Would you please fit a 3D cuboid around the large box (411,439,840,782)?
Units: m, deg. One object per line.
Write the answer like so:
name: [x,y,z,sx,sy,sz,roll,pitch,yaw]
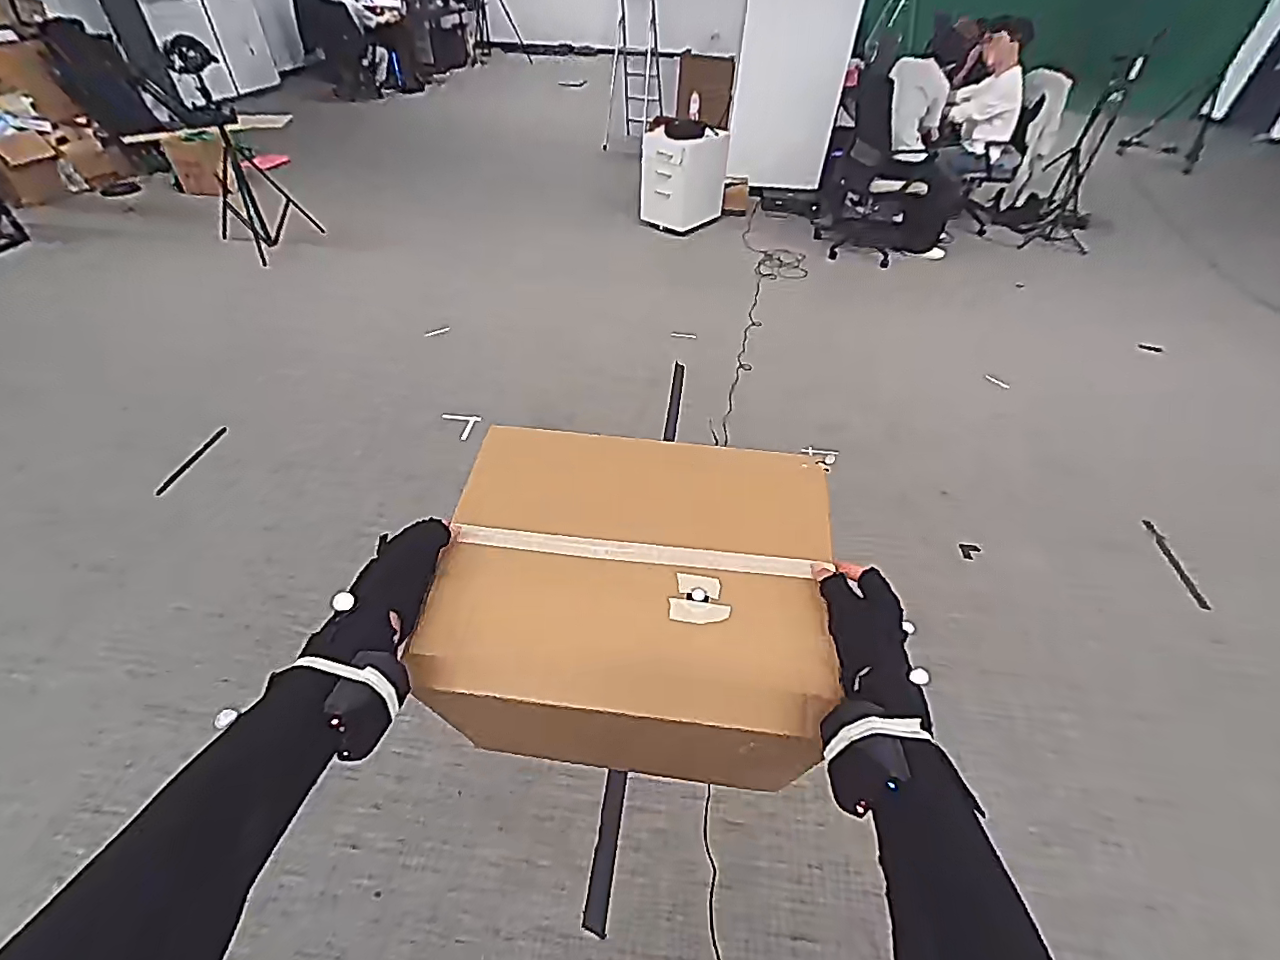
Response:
large box: [-0.005,0.174,0.696,0.408,0.320,0.320,6,54,4]
